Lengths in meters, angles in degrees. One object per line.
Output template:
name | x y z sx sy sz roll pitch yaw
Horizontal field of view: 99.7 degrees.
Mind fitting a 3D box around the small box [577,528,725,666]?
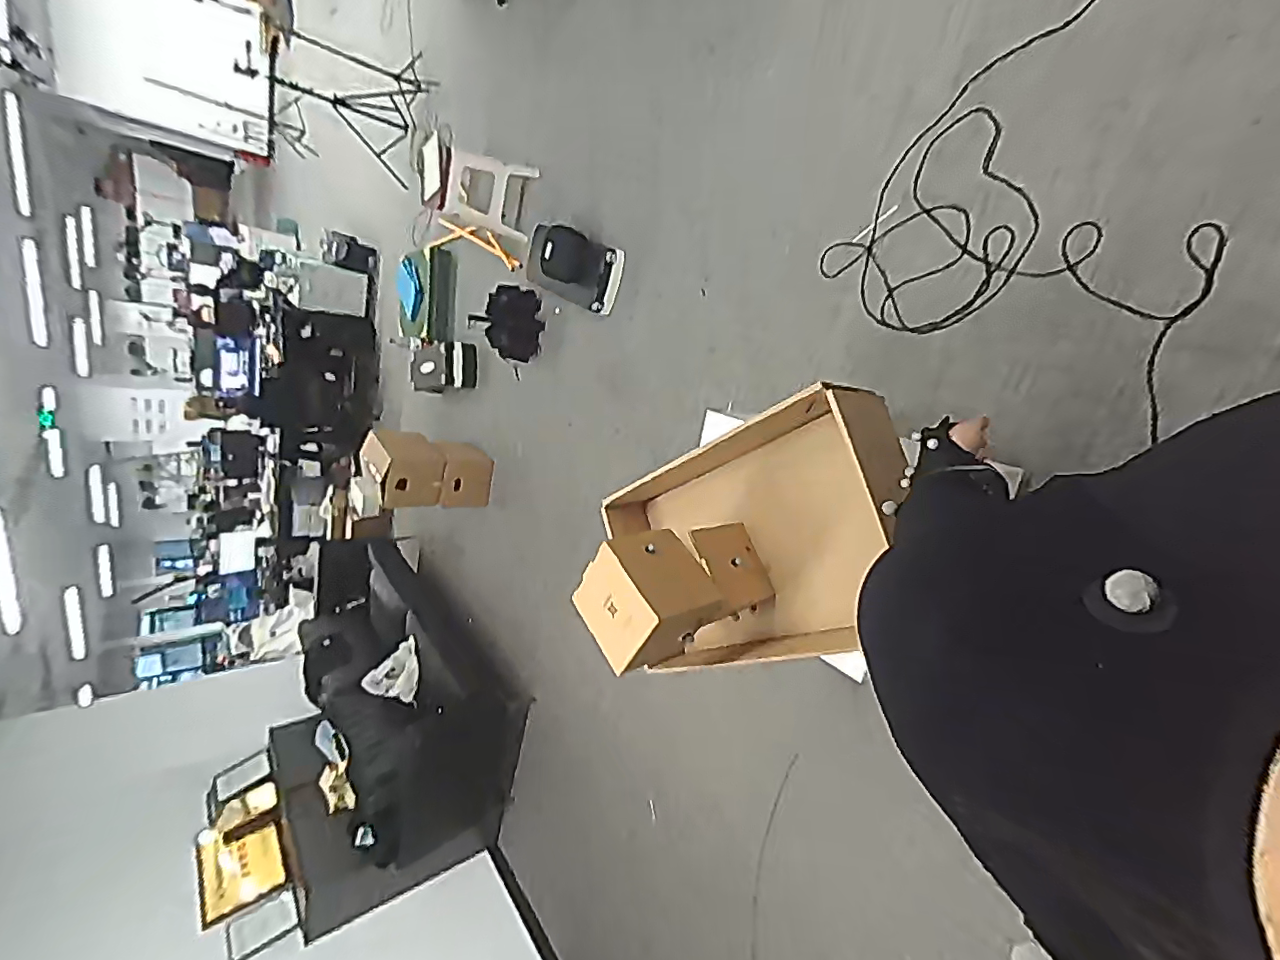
small box | 0.019 0.203 0.992 0.179 0.176 0.168 50 128 30
